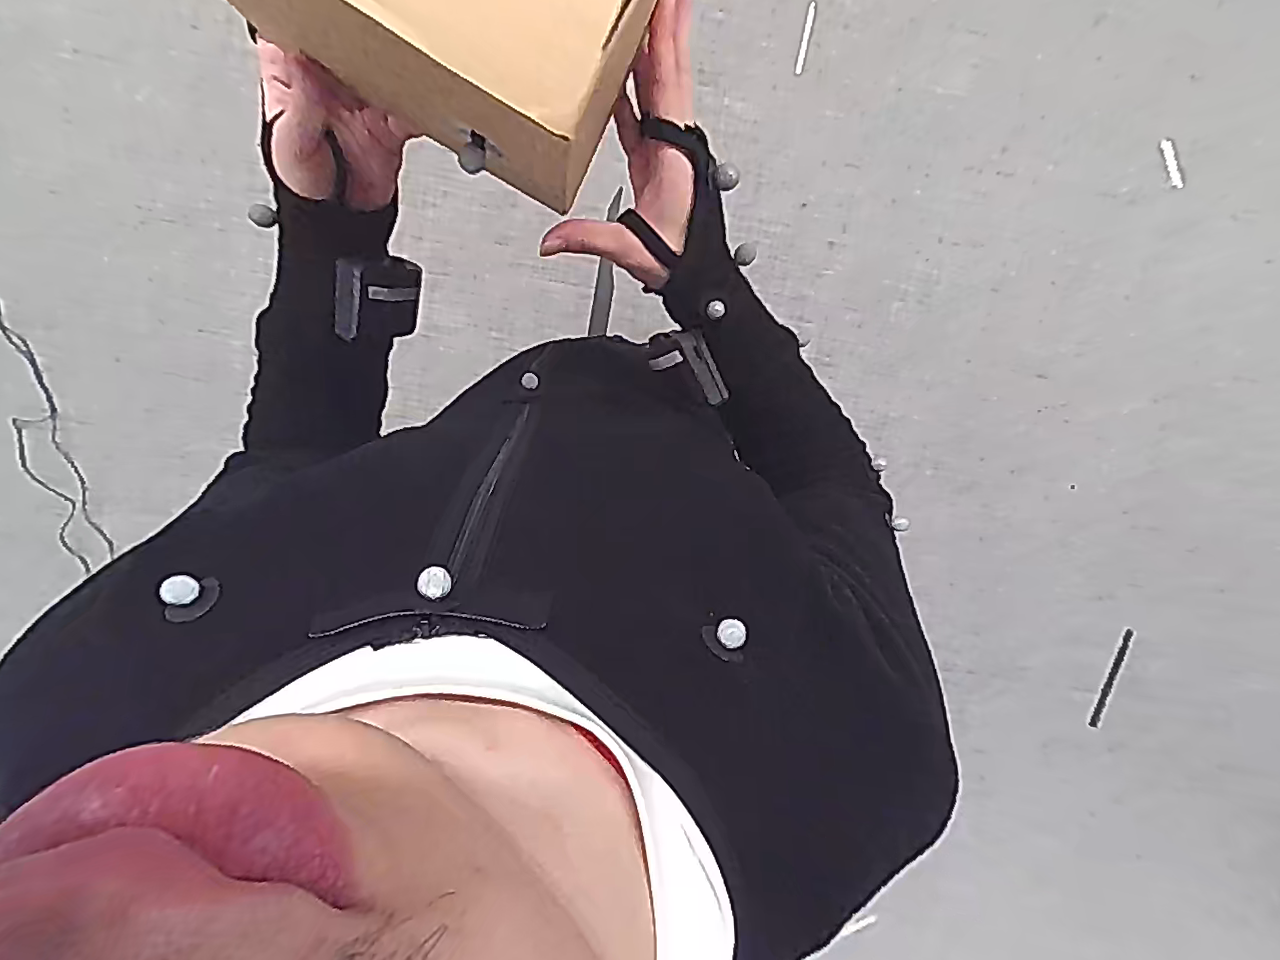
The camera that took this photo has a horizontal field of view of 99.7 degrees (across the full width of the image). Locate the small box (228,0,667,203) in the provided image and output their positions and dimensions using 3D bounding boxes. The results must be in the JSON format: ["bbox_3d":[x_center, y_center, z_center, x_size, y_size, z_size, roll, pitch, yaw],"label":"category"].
[{"bbox_3d":[-0.074,-0.249,0.240,0.179,0.176,0.168,24,102,-15],"label":"small box"}]
